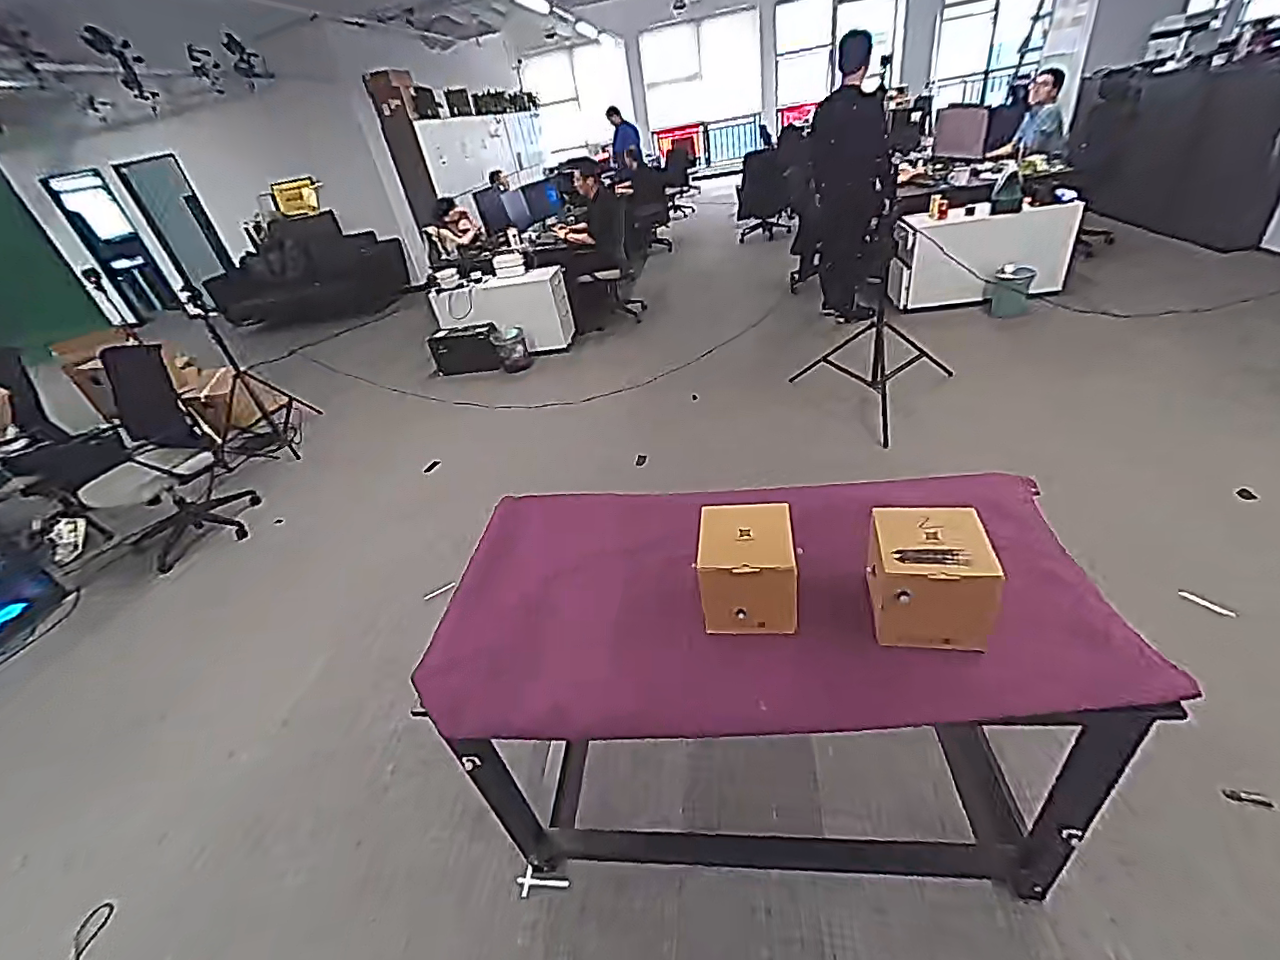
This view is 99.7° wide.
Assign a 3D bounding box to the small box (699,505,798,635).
[{"bbox_3d":[0.204,0.166,1.017,0.168,0.176,0.179,-3,35,12],"label":"small box"}]
